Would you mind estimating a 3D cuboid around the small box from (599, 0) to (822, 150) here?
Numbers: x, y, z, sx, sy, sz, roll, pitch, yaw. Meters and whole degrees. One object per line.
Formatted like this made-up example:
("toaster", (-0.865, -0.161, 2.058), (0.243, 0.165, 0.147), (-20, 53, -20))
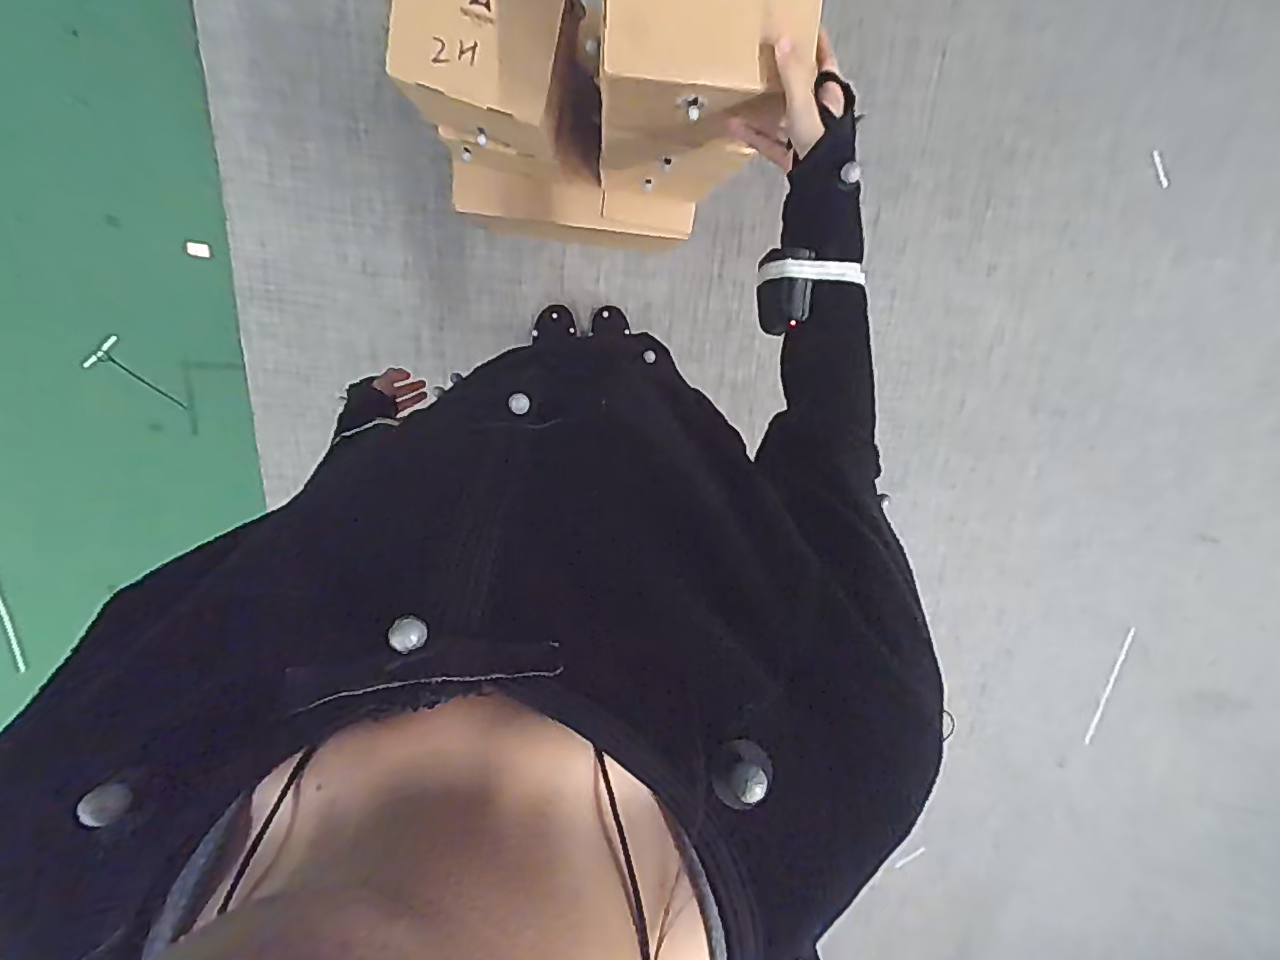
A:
("small box", (0.056, -0.423, 0.498), (0.179, 0.176, 0.168), (3, 109, -5))
